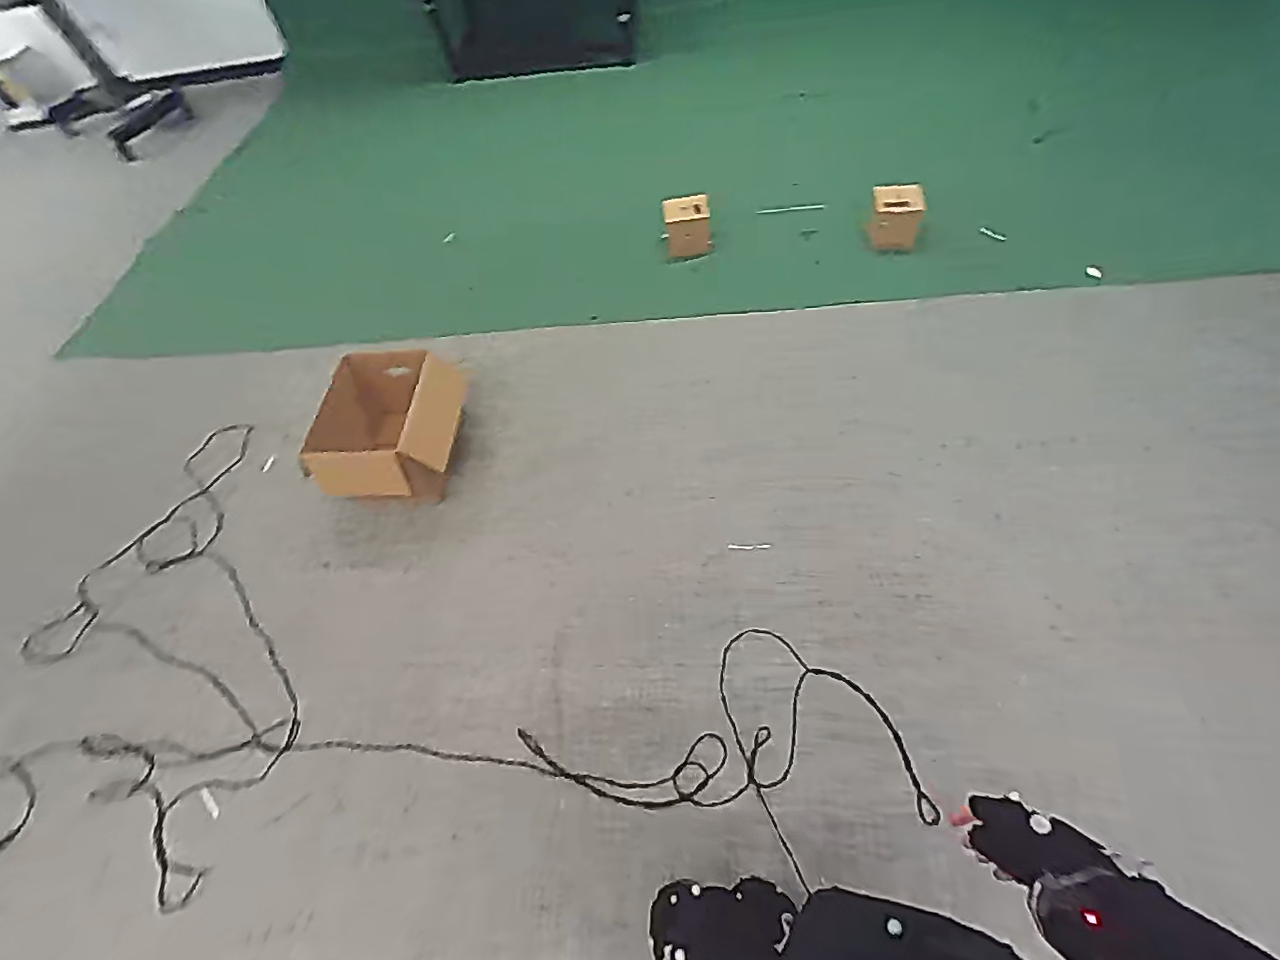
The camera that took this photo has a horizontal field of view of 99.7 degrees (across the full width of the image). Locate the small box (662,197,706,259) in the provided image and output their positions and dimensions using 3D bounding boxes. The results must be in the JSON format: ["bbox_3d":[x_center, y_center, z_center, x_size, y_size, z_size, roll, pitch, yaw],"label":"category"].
[{"bbox_3d":[0.190,-1.070,2.298,0.179,0.176,0.168,-6,57,6],"label":"small box"}]
